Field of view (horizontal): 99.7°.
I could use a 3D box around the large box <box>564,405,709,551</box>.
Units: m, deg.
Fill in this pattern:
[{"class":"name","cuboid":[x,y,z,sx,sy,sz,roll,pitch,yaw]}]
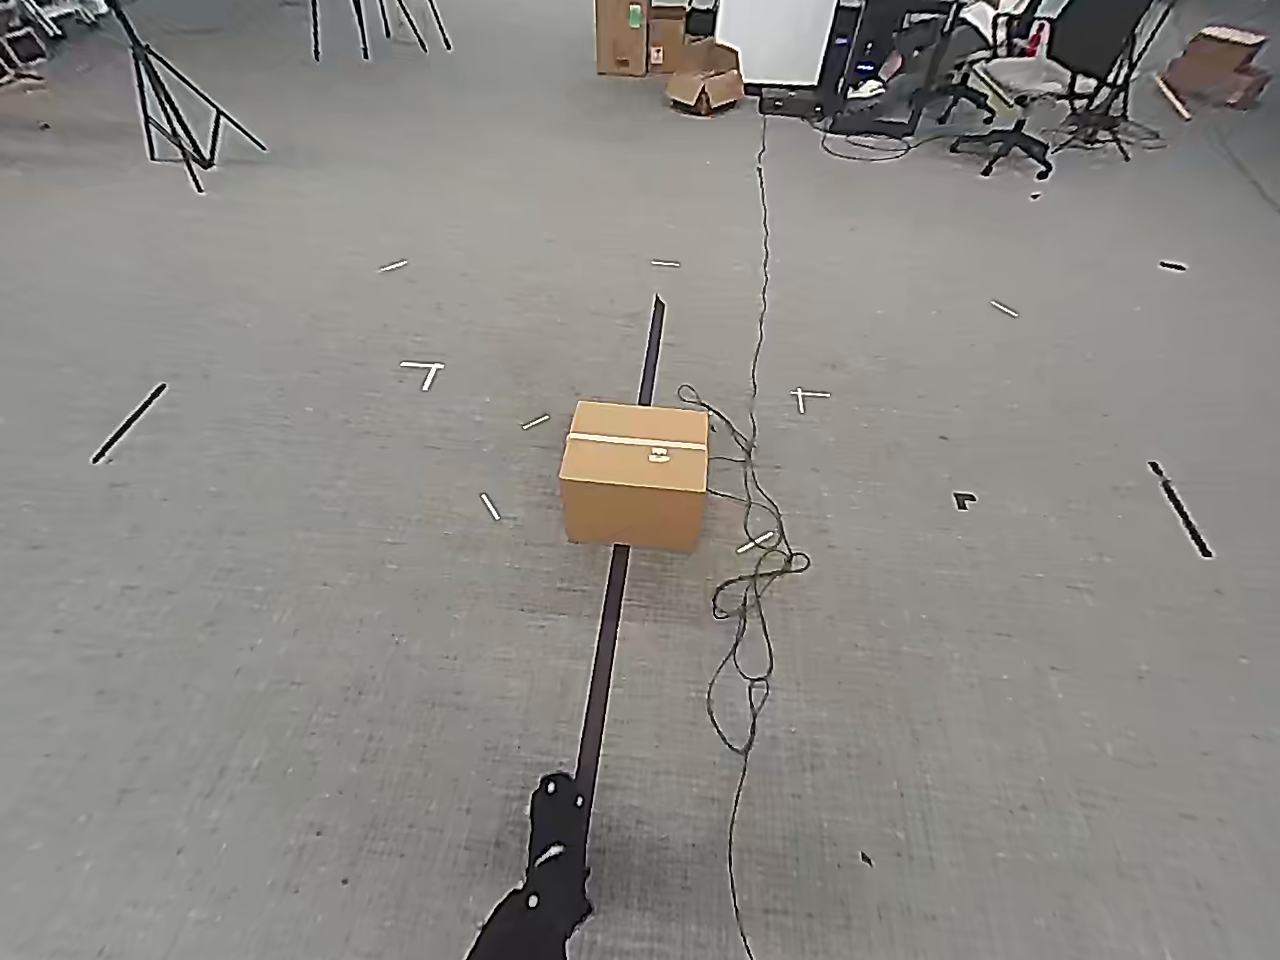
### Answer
[{"class":"large box","cuboid":[-0.007,-0.002,1.678,0.408,0.320,0.320,6,51,3]}]
